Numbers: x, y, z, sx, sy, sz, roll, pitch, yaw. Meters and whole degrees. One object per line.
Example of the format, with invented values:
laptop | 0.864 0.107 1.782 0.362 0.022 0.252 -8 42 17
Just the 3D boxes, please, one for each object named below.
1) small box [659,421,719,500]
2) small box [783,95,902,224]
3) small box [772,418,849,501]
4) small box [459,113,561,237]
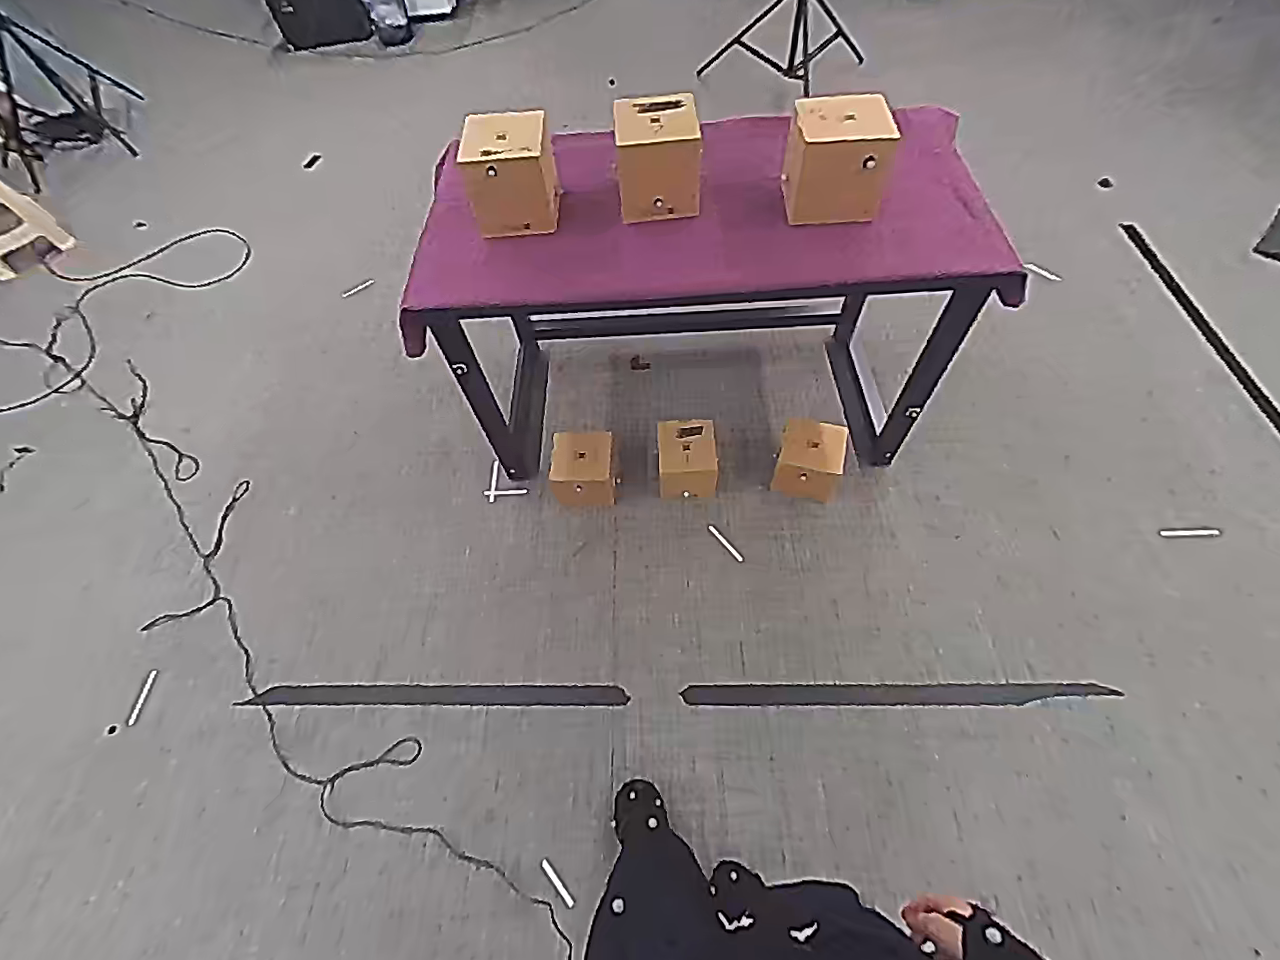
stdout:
small box | 0.142 -0.055 1.617 0.168 0.176 0.179 -3 60 3
small box | 0.399 -0.644 1.097 0.179 0.176 0.168 -1 58 5
small box | 0.498 -0.055 1.590 0.179 0.176 0.168 12 61 13
small box | -0.267 -0.646 1.152 0.168 0.176 0.179 -4 59 2
